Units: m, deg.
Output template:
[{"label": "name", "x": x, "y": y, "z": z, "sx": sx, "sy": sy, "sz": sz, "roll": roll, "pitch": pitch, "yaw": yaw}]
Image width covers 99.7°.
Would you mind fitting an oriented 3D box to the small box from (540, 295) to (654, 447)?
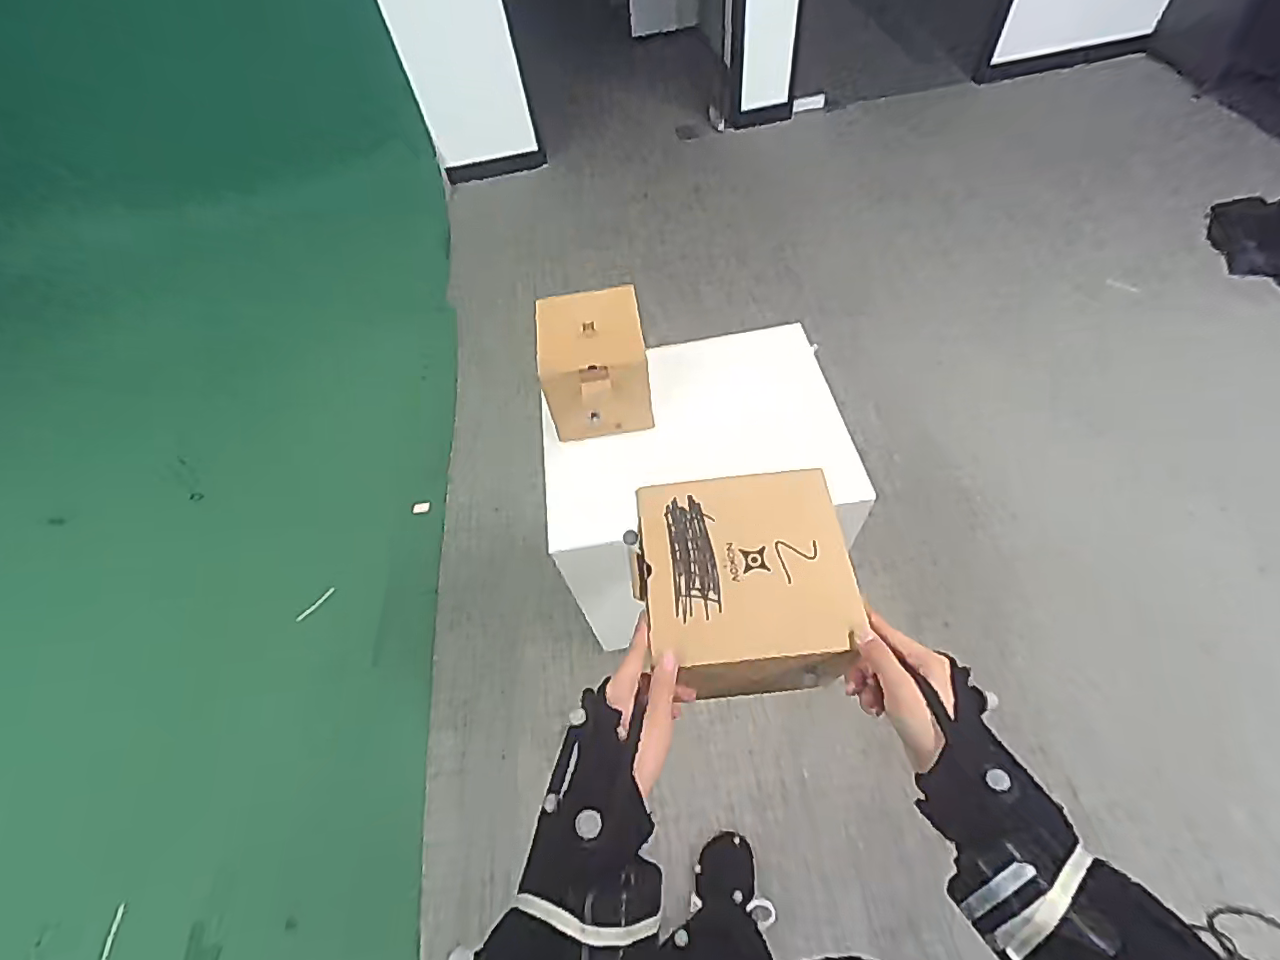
[{"label": "small box", "x": -0.070, "y": -0.181, "z": 0.911, "sx": 0.168, "sy": 0.176, "sz": 0.179, "roll": -9, "pitch": 57, "yaw": 0}]
